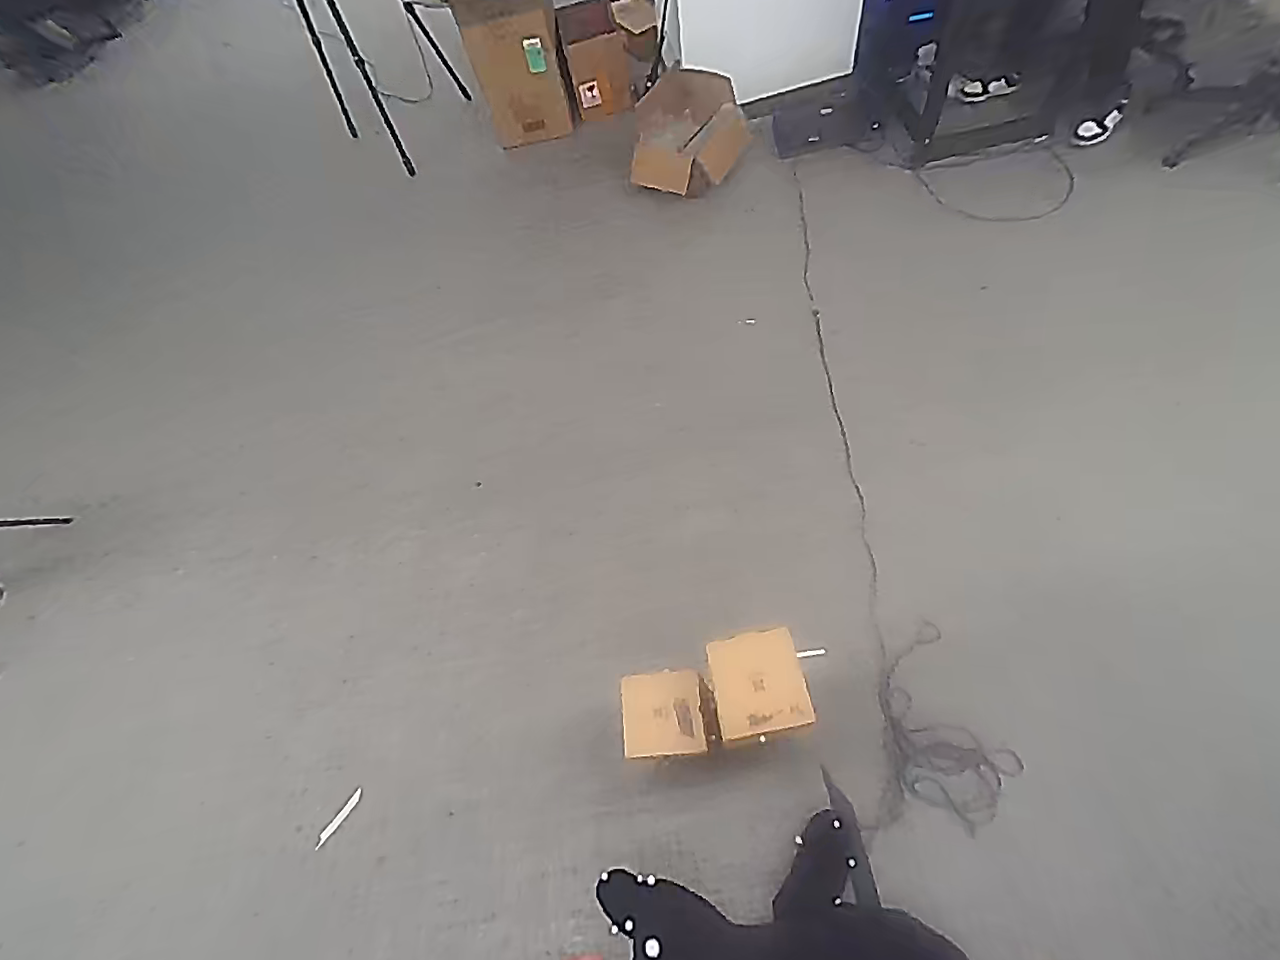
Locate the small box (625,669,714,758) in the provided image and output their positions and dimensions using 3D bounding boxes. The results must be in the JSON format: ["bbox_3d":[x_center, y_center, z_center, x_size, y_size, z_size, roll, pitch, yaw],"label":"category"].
[{"bbox_3d":[0.071,0.531,1.221,0.179,0.176,0.168,-10,61,8],"label":"small box"}]

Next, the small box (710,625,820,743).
[{"bbox_3d":[0.239,0.405,1.063,0.168,0.176,0.179,-14,60,5],"label":"small box"}]
